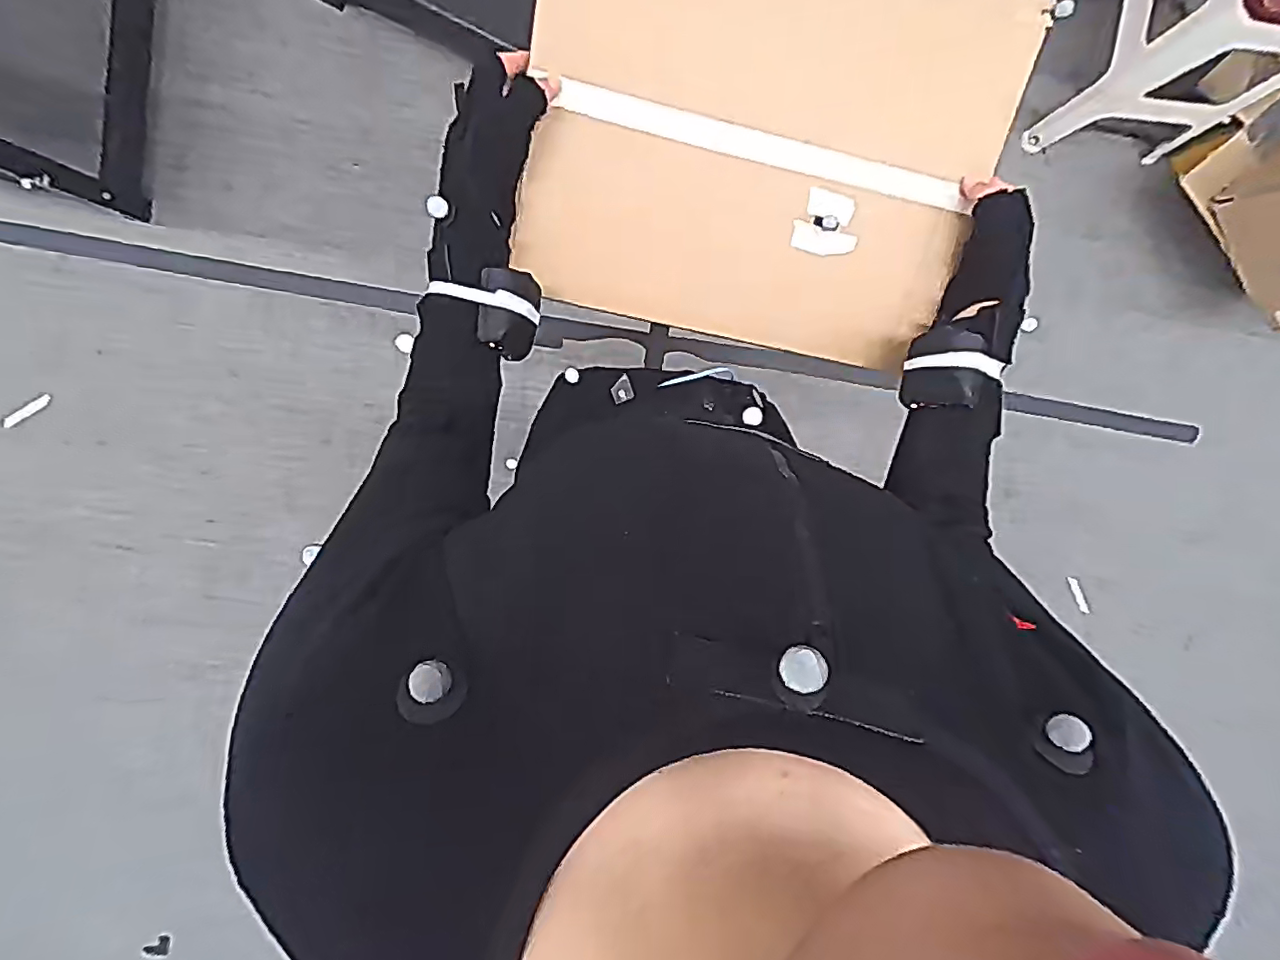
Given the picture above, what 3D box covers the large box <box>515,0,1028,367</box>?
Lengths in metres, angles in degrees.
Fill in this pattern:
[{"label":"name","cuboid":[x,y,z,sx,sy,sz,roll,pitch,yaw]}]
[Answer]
[{"label":"large box","cuboid":[0.091,-0.333,0.610,0.408,0.320,0.320,9,109,-9]}]
